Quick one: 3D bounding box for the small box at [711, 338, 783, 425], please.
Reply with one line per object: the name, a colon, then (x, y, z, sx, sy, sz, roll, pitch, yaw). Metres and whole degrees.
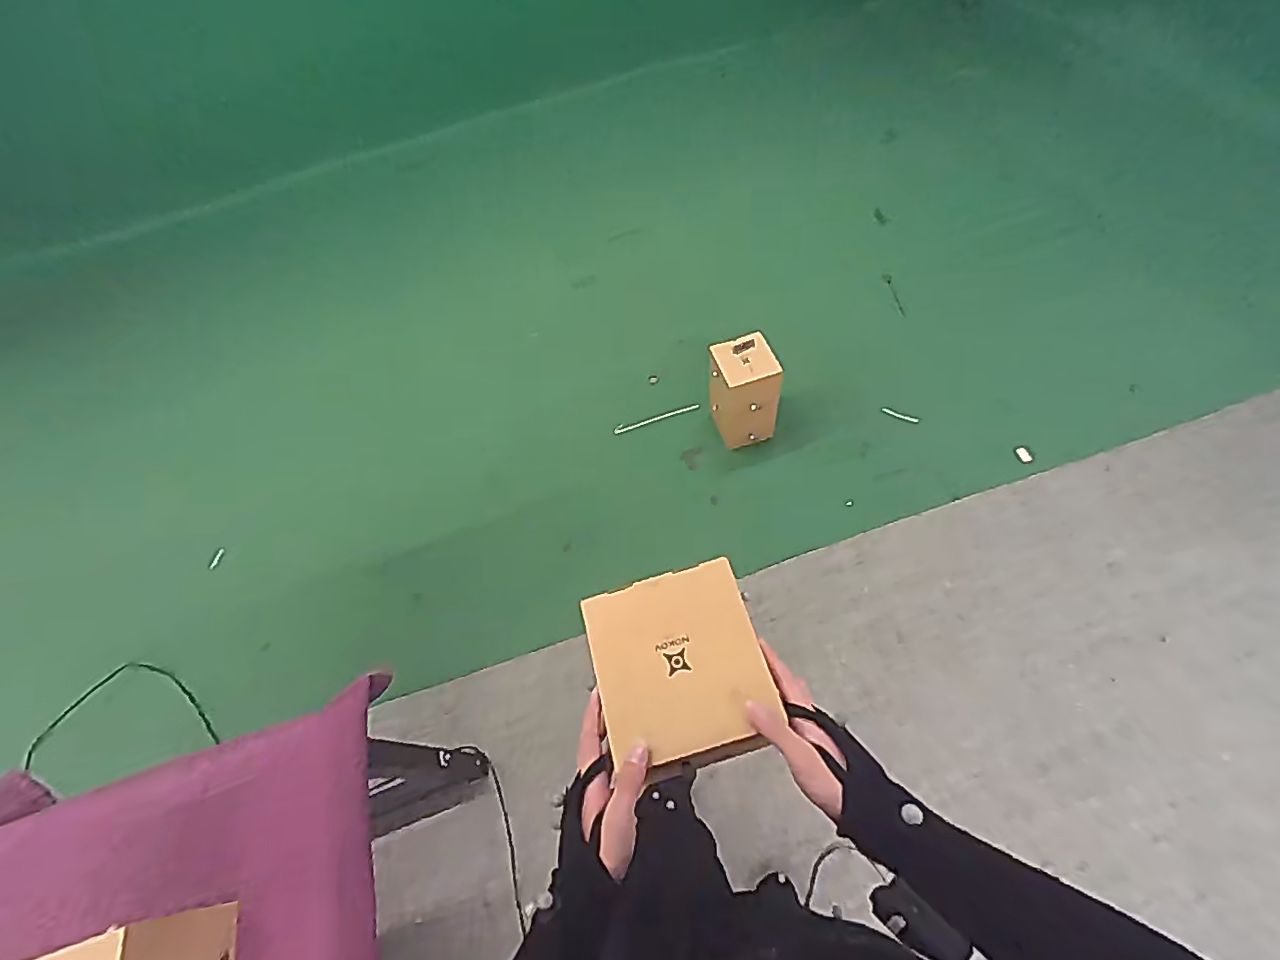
small box: (0.323, -0.301, 1.672, 0.168, 0.176, 0.179, -17, 59, -3)

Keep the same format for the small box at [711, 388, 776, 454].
small box: (0.340, -0.217, 1.812, 0.168, 0.176, 0.179, -17, 59, -2)

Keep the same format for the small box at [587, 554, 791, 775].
small box: (0.053, 0.211, 0.598, 0.168, 0.176, 0.179, -17, 57, -1)
